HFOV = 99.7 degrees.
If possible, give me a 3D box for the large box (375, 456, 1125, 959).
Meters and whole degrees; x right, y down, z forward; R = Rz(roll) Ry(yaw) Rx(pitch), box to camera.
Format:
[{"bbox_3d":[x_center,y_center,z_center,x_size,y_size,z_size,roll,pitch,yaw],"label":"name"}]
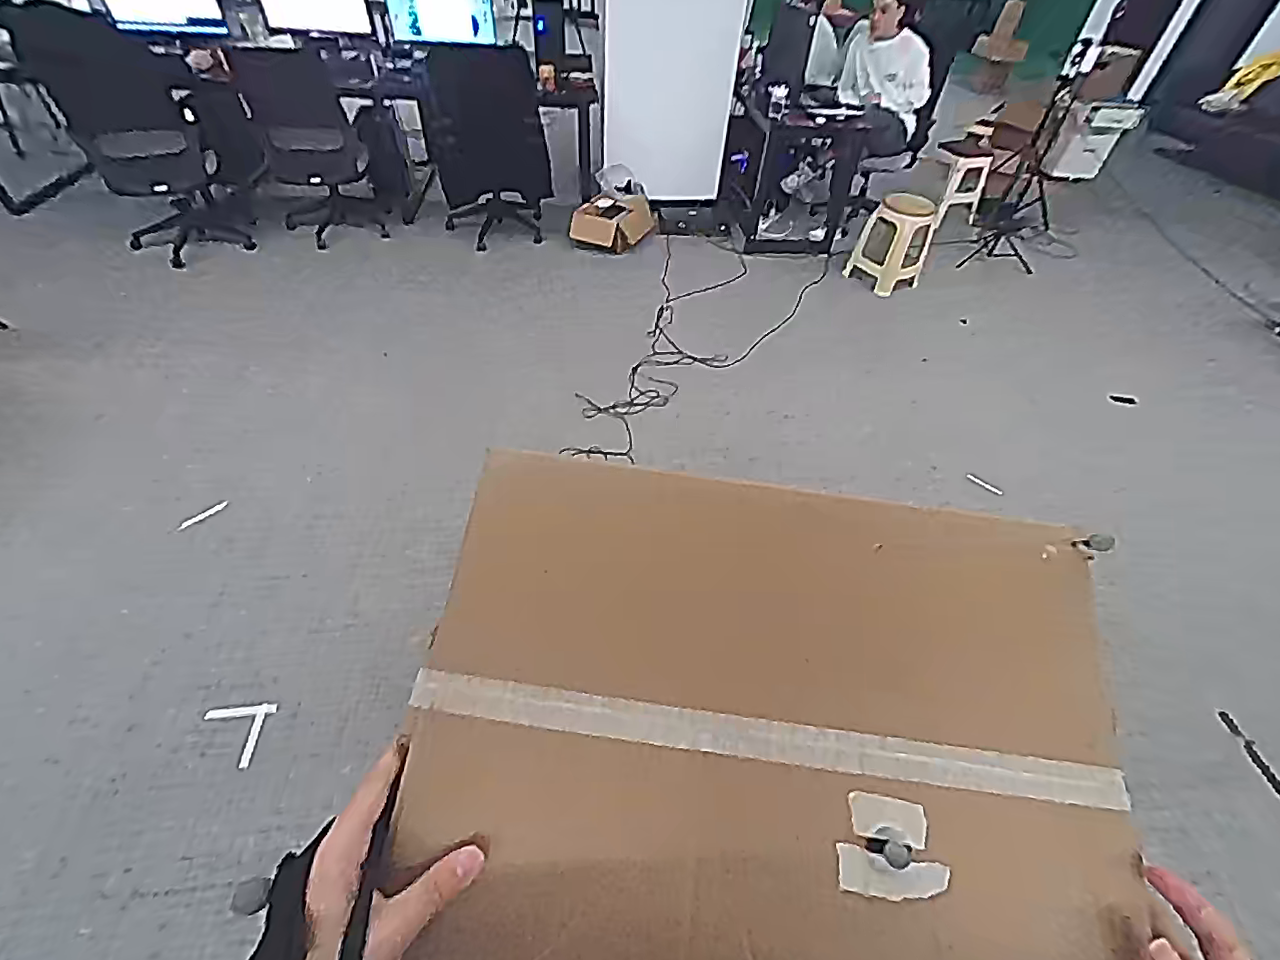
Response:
[{"bbox_3d":[0.069,0.200,0.465,0.408,0.320,0.320,8,70,1],"label":"large box"}]
